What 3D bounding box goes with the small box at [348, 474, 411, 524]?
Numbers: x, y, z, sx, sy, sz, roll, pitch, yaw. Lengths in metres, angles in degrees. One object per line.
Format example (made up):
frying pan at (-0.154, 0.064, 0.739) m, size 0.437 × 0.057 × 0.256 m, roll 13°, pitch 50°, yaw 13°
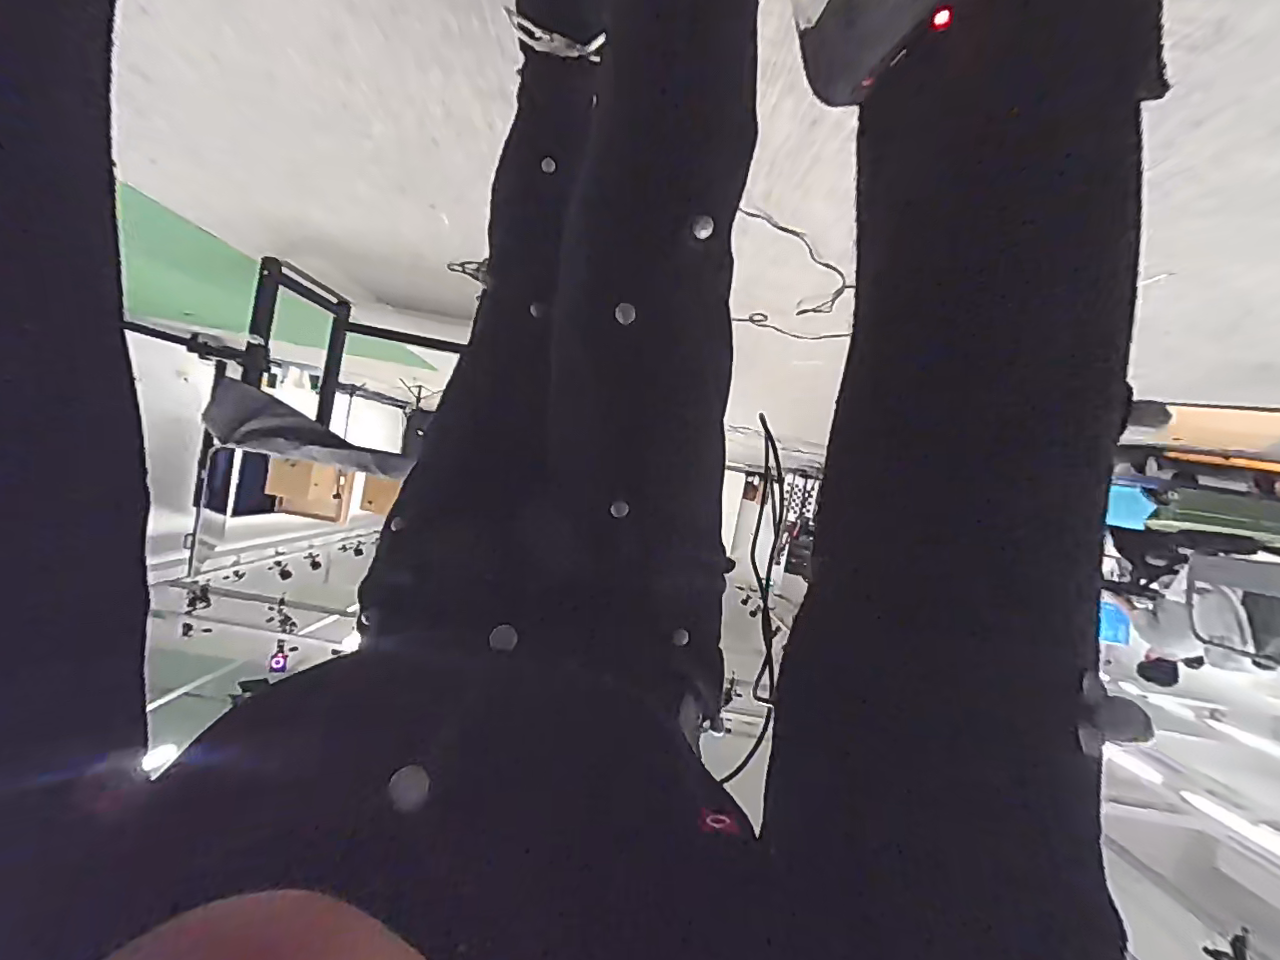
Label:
small box at (-1.047, 0.074, 2.191) m, size 0.179 × 0.176 × 0.168 m, roll 11°, pitch 180°, yaw -3°
